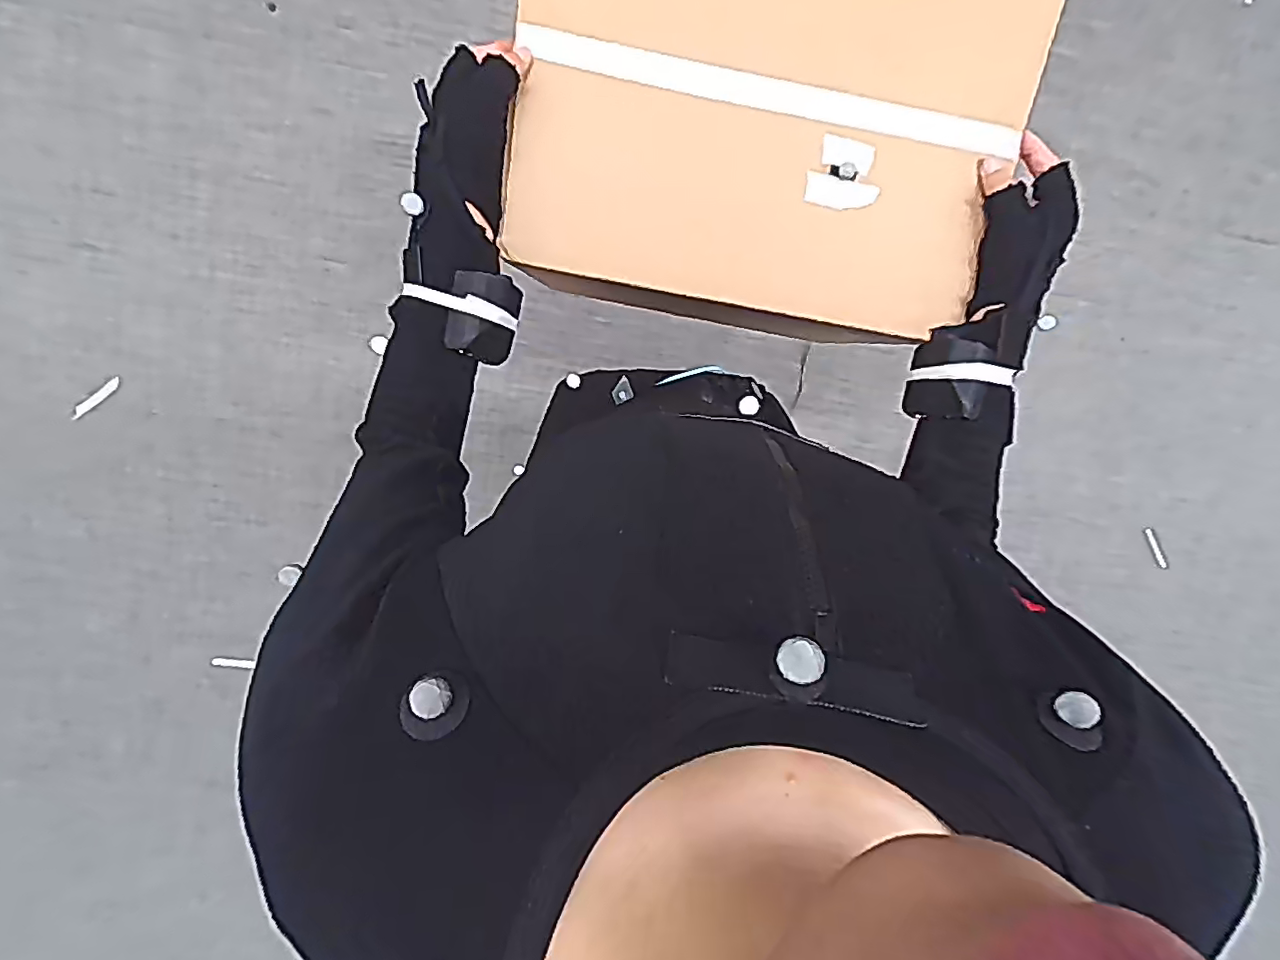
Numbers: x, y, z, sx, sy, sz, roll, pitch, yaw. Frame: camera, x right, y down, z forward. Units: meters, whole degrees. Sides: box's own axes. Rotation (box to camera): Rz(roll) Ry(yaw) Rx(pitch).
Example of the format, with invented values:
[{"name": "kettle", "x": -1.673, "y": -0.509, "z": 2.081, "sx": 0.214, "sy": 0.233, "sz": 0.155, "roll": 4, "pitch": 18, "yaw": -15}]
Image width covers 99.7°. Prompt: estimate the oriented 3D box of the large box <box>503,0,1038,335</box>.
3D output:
[{"name": "large box", "x": 0.094, "y": -0.345, "z": 0.582, "sx": 0.408, "sy": 0.320, "sz": 0.320, "roll": 9, "pitch": 105, "yaw": -5}]
